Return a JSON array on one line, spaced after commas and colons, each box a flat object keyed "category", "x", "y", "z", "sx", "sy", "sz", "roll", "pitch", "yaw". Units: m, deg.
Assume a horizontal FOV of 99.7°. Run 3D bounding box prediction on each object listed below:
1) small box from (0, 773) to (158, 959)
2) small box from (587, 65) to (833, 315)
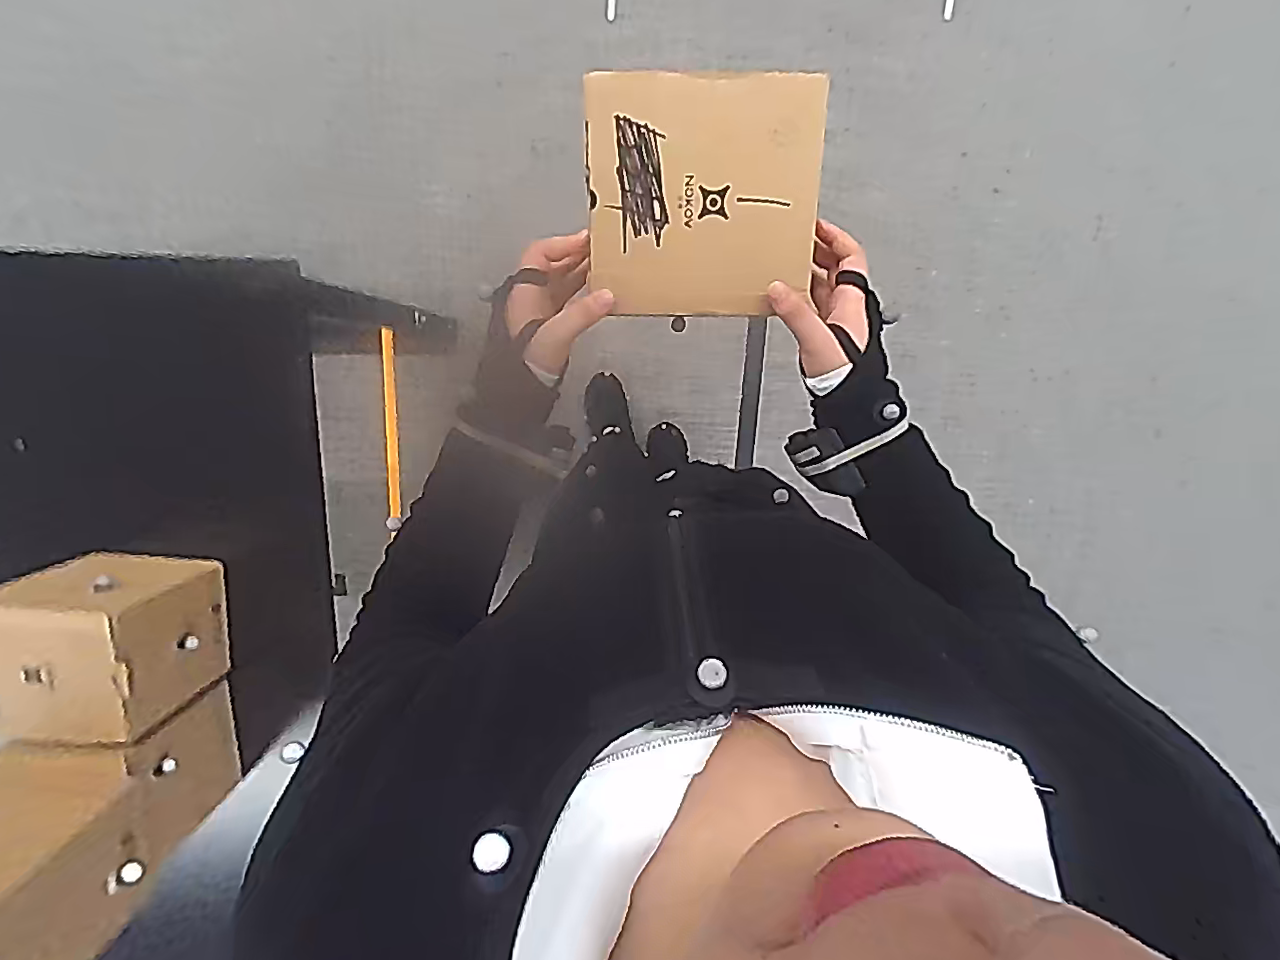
[{"category": "small box", "x": -0.667, "y": 0.436, "z": 0.565, "sx": 0.179, "sy": 0.176, "sz": 0.168, "roll": 4, "pitch": 103, "yaw": -3}, {"category": "small box", "x": 0.049, "y": -0.235, "z": 0.481, "sx": 0.179, "sy": 0.176, "sz": 0.168, "roll": 0, "pitch": 107, "yaw": -1}]
